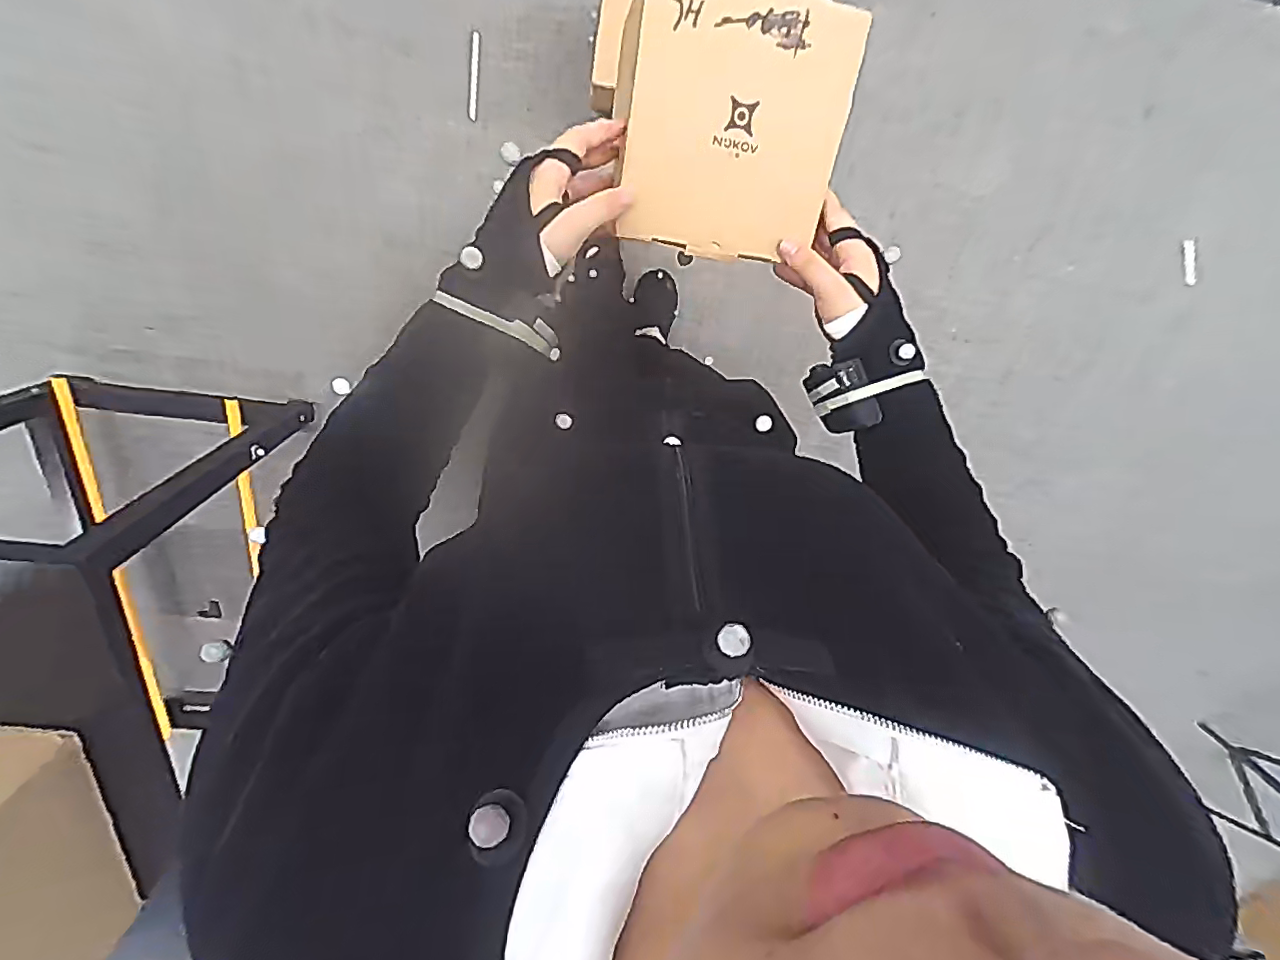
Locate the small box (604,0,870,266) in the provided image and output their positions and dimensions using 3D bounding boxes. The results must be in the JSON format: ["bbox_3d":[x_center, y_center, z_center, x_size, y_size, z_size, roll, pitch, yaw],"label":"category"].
[{"bbox_3d":[0.062,-0.302,0.477,0.168,0.176,0.179,5,116,-11],"label":"small box"}]

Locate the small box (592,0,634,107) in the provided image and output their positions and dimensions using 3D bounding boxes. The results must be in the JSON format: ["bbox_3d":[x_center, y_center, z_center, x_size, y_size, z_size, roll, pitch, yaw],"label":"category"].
[{"bbox_3d":[0.012,-0.740,0.919,0.168,0.176,0.179,8,116,-7],"label":"small box"}]
